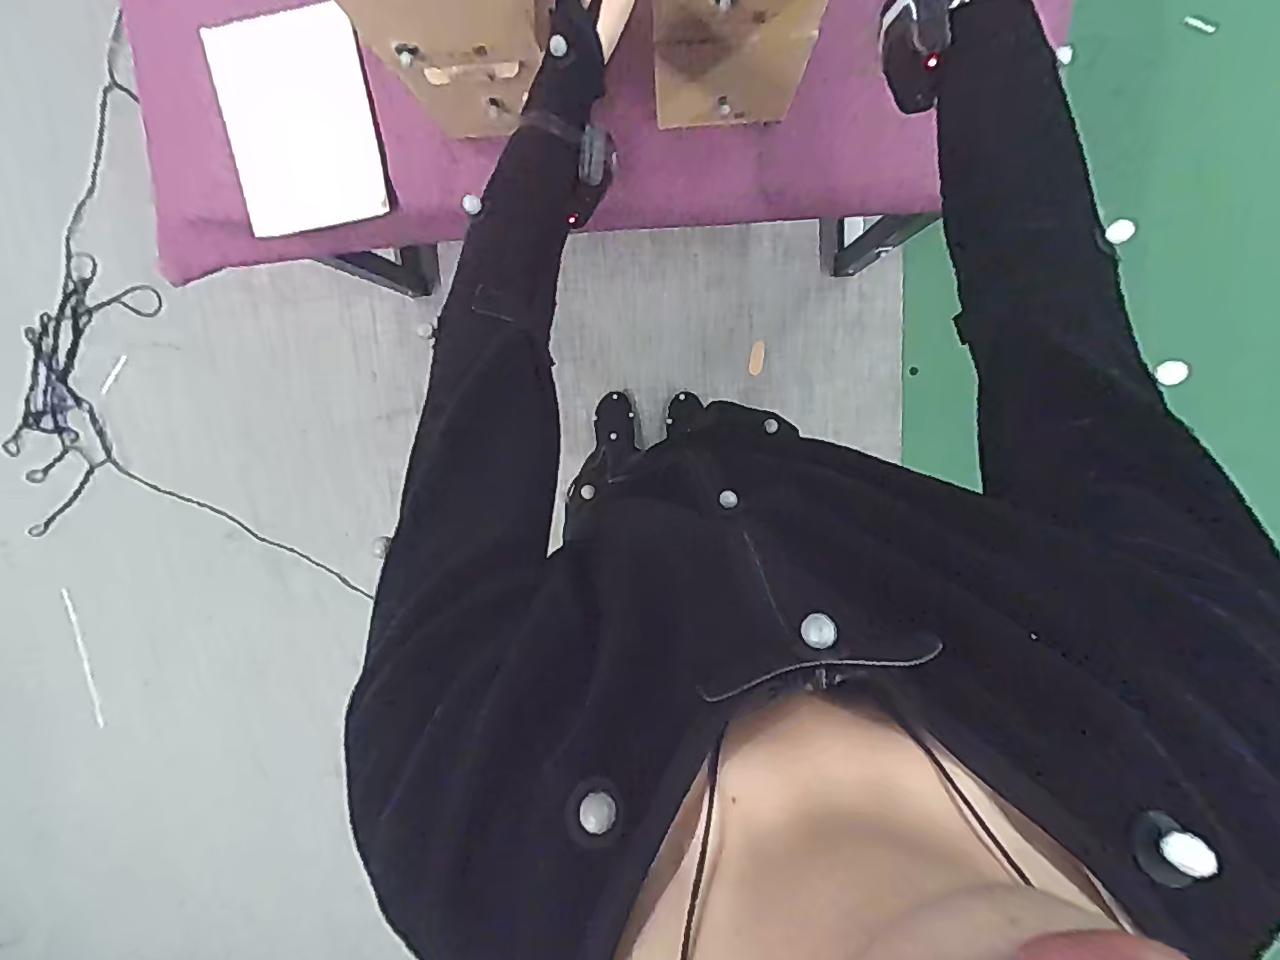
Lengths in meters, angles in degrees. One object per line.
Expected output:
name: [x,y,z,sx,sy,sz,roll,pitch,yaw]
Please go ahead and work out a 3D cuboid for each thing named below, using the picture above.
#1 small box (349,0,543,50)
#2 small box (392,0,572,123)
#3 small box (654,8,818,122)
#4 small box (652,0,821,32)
small box: [-0.184,-0.510,0.466,0.168,0.176,0.179,-1,98,3]
small box: [-0.176,-0.542,0.628,0.168,0.176,0.179,-2,99,3]
small box: [0.099,-0.544,0.612,0.168,0.176,0.179,-1,98,4]
small box: [0.089,-0.526,0.450,0.168,0.176,0.179,-1,99,3]
